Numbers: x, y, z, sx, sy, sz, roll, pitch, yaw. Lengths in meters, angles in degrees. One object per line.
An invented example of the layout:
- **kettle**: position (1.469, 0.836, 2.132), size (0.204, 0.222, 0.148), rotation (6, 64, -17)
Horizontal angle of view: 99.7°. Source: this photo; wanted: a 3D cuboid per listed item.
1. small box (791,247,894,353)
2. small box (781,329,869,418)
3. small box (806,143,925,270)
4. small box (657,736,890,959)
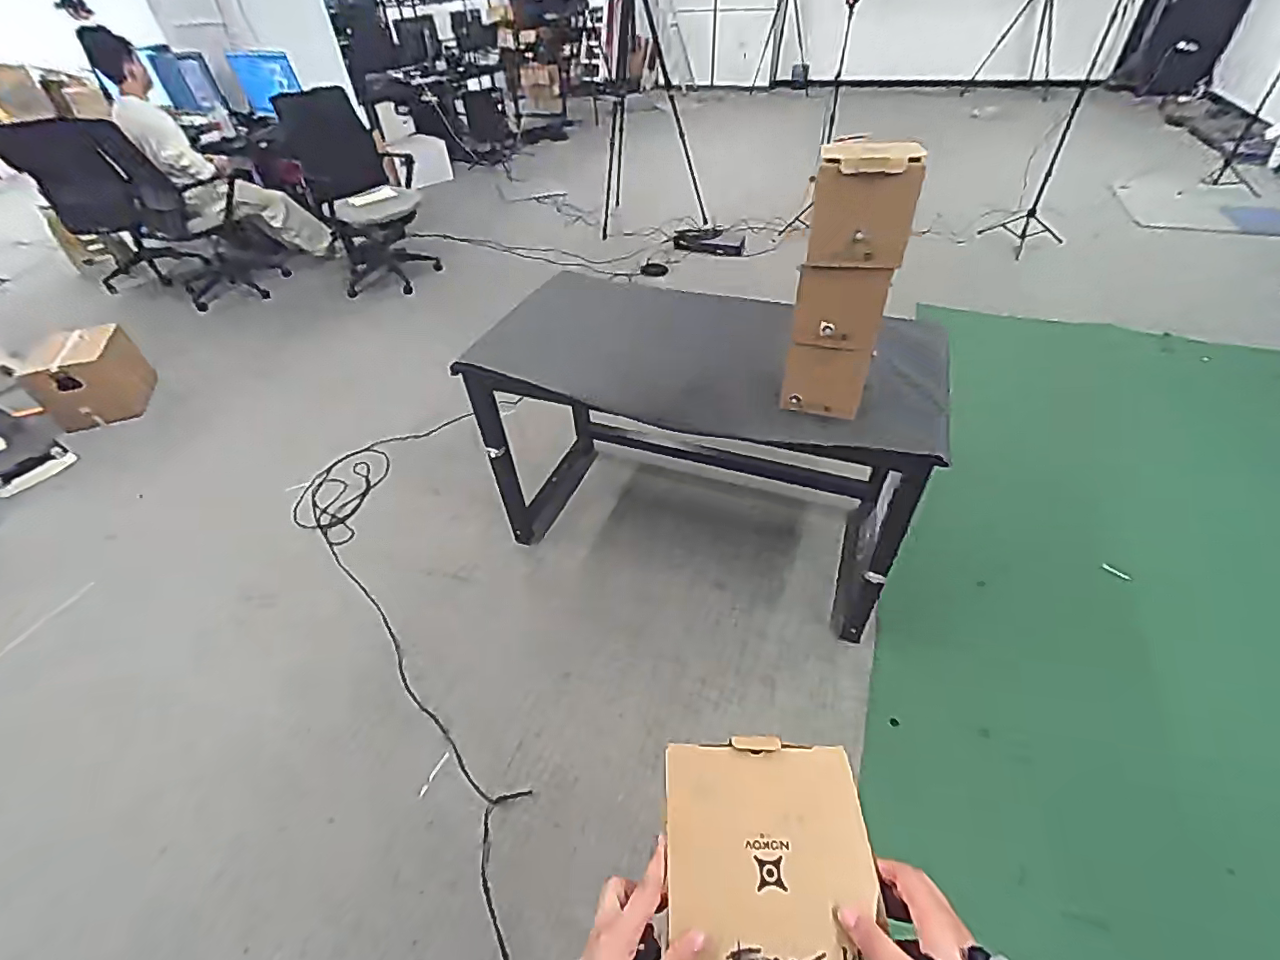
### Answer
- **small box**: position (0.406, -0.378, 1.095), size (0.168, 0.176, 0.179), rotation (10, 44, 16)
- **small box**: position (0.416, -0.259, 1.204), size (0.168, 0.176, 0.179), rotation (13, 43, 18)
- **small box**: position (0.398, -0.497, 0.979), size (0.168, 0.176, 0.179), rotation (7, 42, 14)
- **small box**: position (0.100, 0.353, 0.493), size (0.168, 0.176, 0.179), rotation (0, 47, 1)
